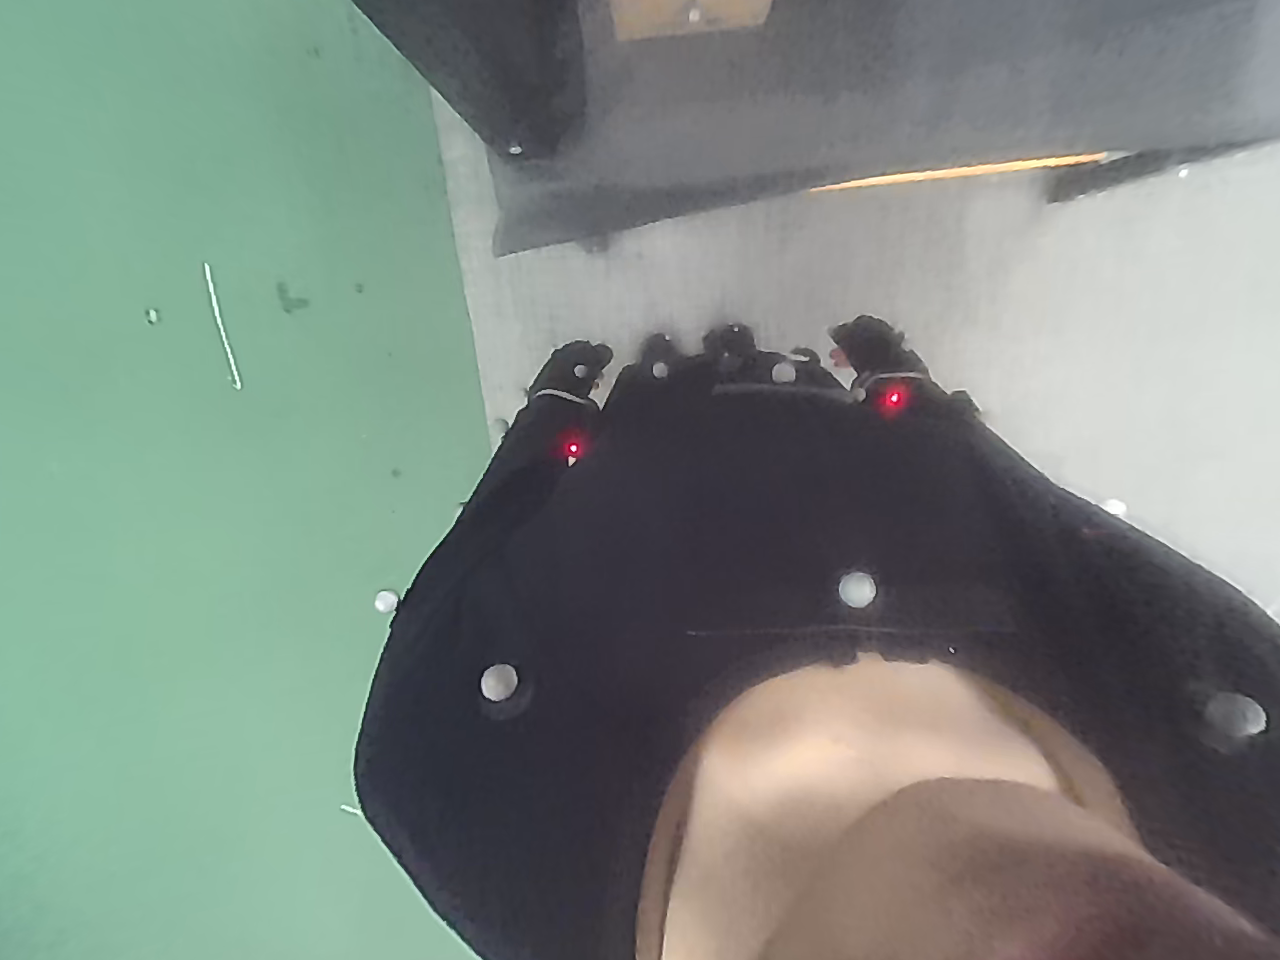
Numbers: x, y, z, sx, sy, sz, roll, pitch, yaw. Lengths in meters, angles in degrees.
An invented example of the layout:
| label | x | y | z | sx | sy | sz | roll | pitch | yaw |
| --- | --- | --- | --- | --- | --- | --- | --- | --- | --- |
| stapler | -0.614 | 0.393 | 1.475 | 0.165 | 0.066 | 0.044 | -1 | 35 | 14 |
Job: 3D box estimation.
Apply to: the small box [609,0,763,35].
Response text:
| label | x | y | z | sx | sy | sz | roll | pitch | yaw |
| --- | --- | --- | --- | --- | --- | --- | --- | --- | --- |
| small box | 0.040 | -0.557 | 0.491 | 0.168 | 0.176 | 0.179 | -5 | 106 | 3 |
